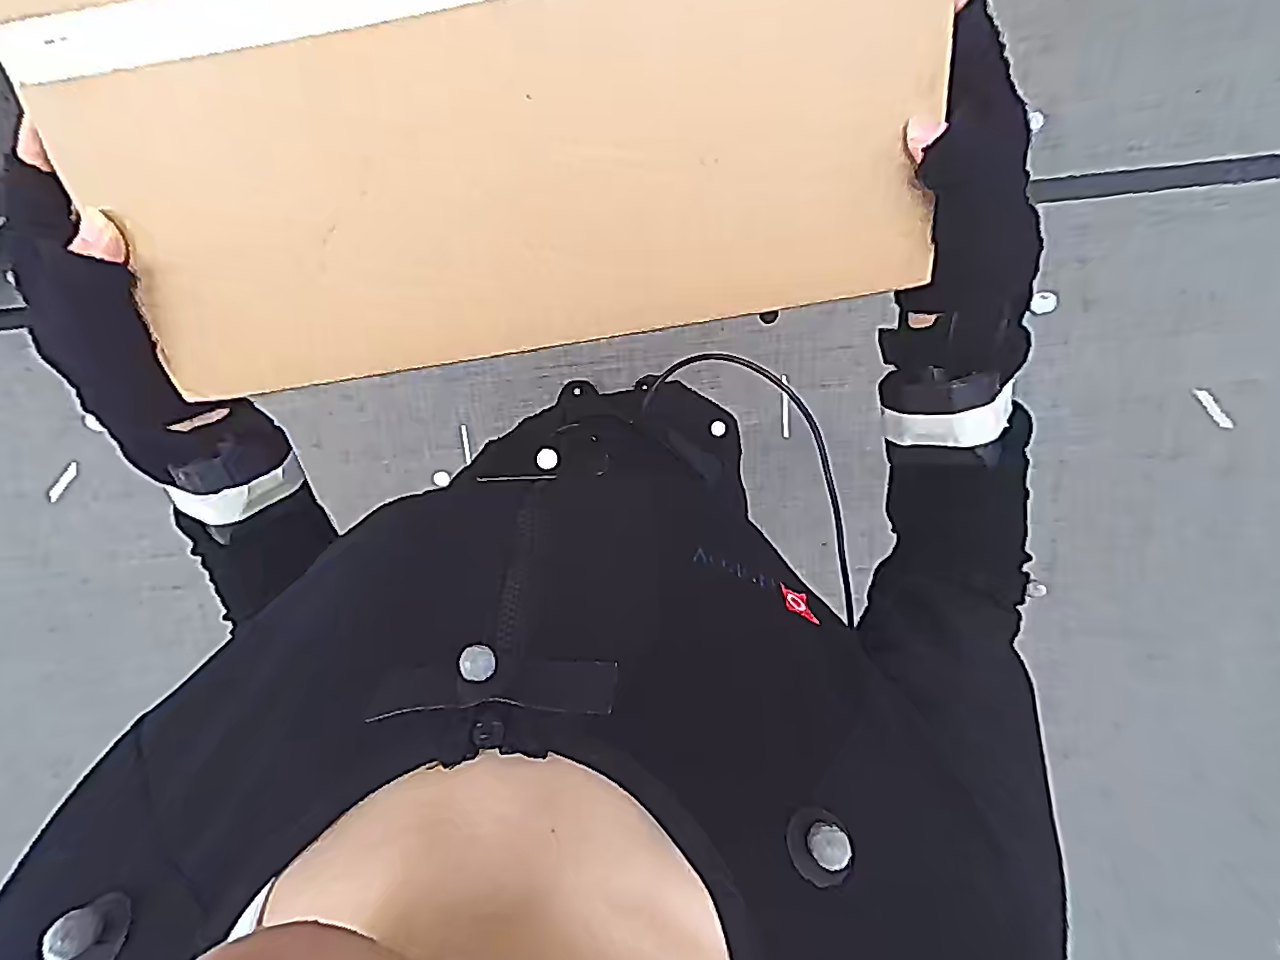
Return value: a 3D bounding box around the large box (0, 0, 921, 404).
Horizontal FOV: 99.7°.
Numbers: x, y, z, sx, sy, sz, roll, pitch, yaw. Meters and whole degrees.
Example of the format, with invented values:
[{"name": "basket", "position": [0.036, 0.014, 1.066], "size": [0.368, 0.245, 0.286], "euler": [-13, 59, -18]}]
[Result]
[{"name": "large box", "position": [-0.077, -0.275, 0.370], "size": [0.408, 0.320, 0.320], "euler": [-9, 115, 3]}]
